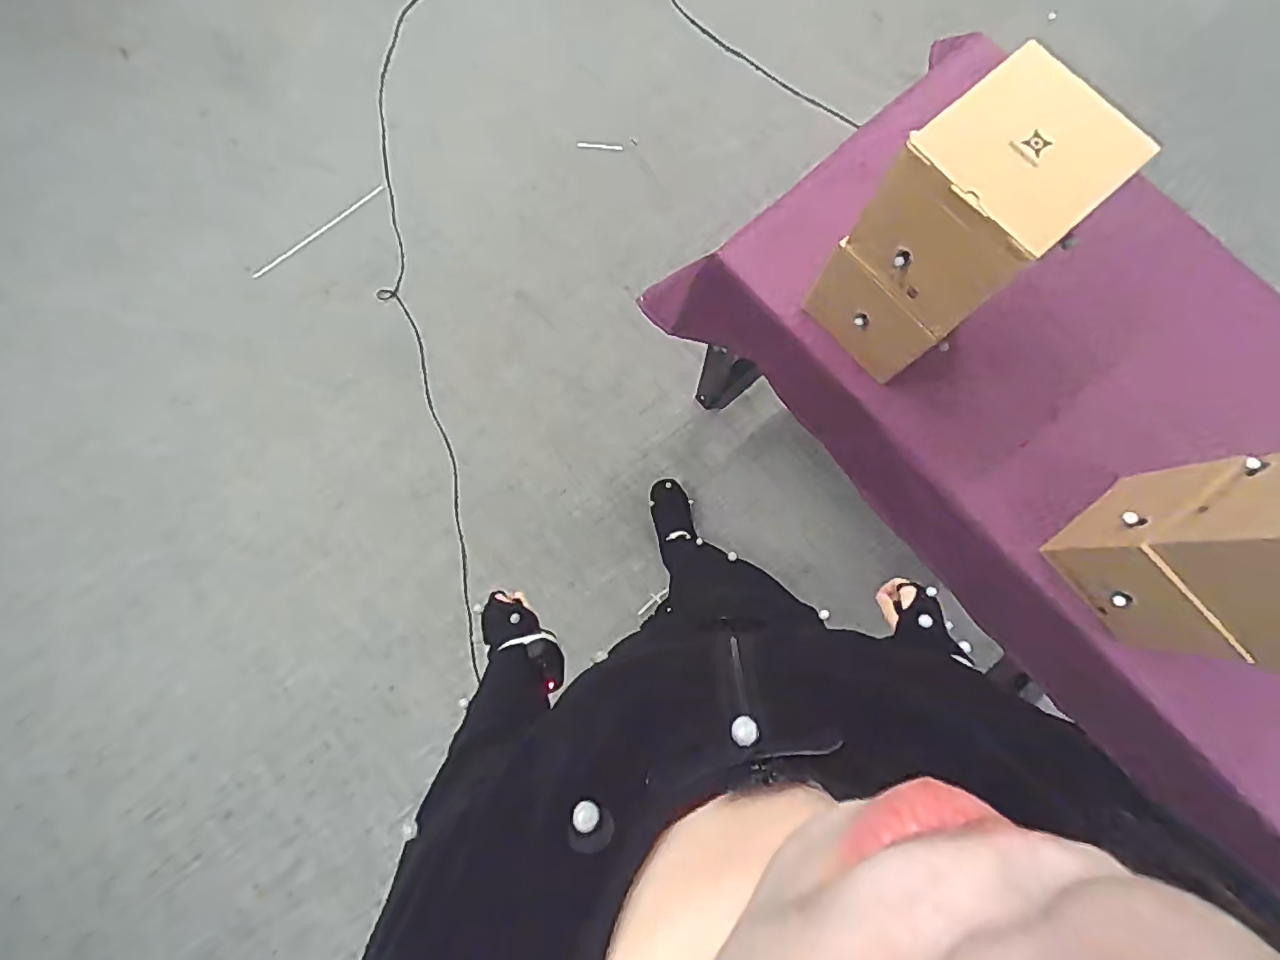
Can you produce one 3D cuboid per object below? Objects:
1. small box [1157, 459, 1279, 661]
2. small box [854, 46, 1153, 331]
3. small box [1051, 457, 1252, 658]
[{"bbox_3d":[0.689,0.077,0.530,0.168,0.176,0.179,-37,83,-4],"label":"small box"},{"bbox_3d":[0.374,-0.302,0.595,0.179,0.176,0.168,-41,83,-5],"label":"small box"},{"bbox_3d":[0.684,0.098,0.693,0.179,0.176,0.168,-38,83,-5],"label":"small box"}]
